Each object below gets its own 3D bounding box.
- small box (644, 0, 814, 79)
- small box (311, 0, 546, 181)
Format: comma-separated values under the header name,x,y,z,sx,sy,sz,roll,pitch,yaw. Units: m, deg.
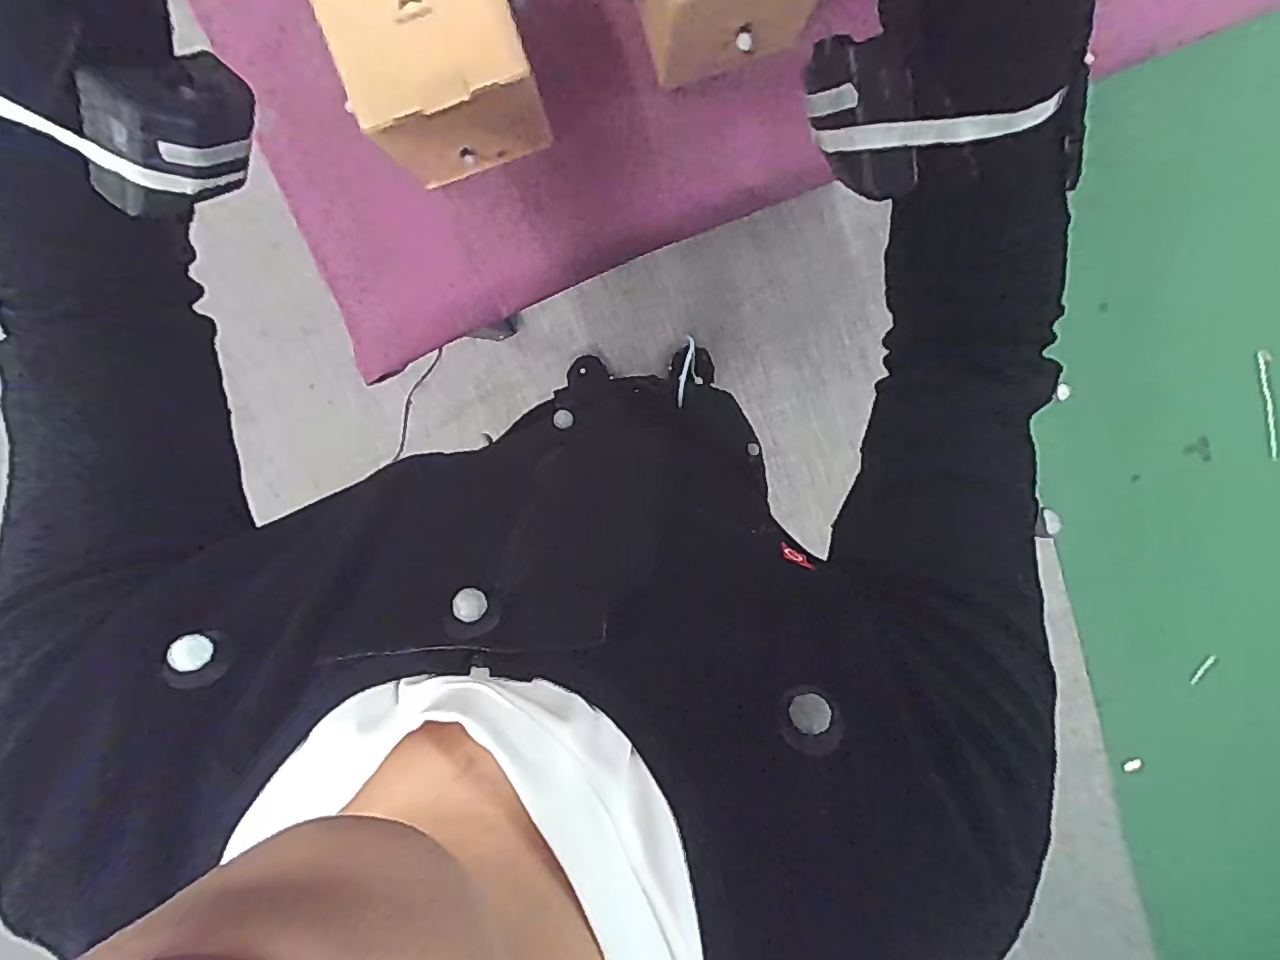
name,x,y,z,sx,sy,sz,roll,pitch,yaw
small box,0.083,-0.545,0.540,0.168,0.176,0.179,-18,102,7
small box,-0.208,-0.442,0.552,0.168,0.176,0.179,-18,104,2
